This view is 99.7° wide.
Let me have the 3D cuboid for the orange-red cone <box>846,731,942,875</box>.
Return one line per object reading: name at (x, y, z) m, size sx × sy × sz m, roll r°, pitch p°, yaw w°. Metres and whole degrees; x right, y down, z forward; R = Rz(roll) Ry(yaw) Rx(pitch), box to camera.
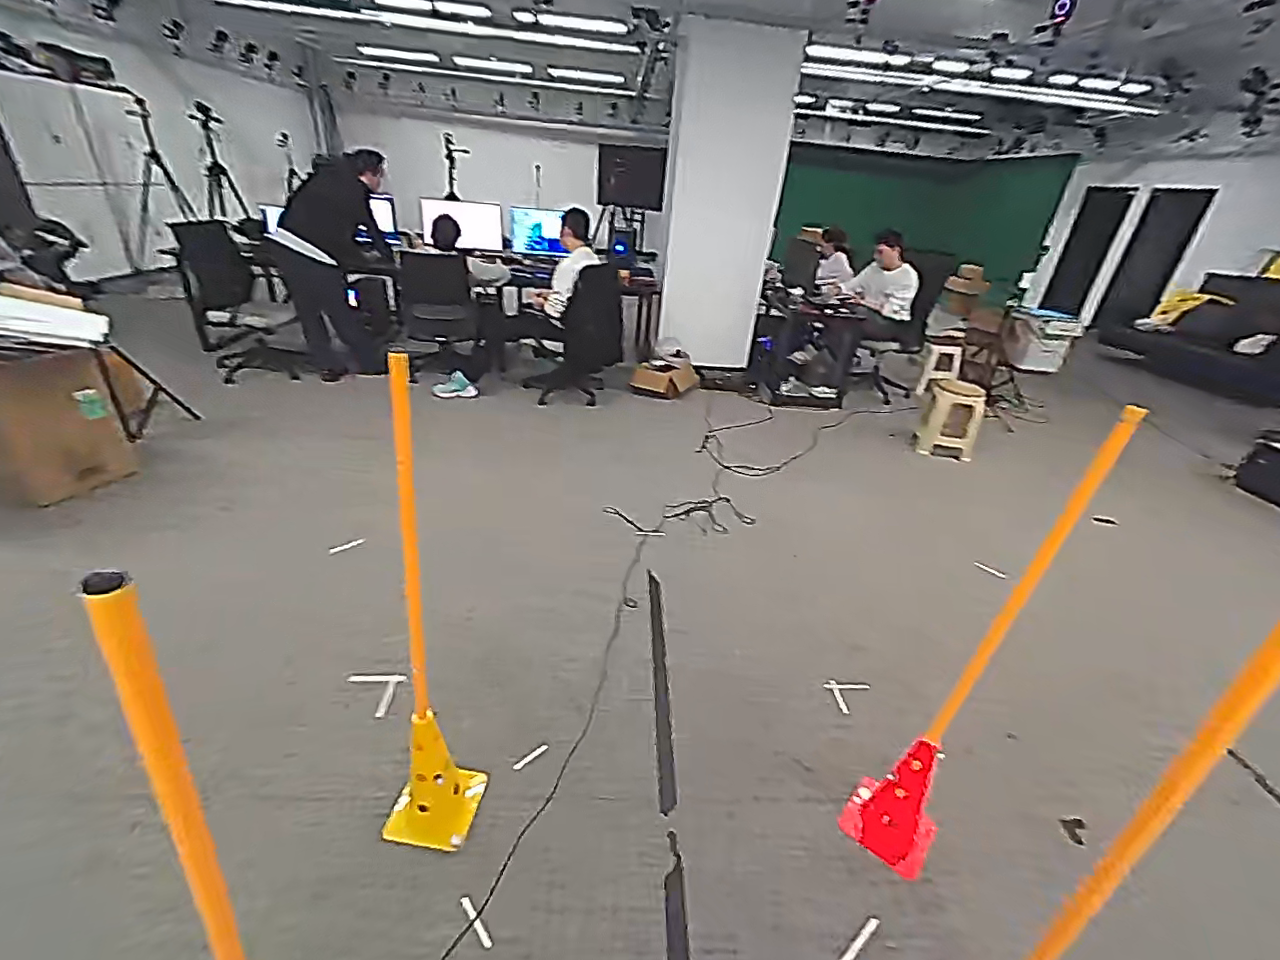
orange-red cone at (0.681, 0.759, 1.350) m, size 0.198 × 0.360 × 0.199 m, roll 27°, pitch 36°, yaw 36°
